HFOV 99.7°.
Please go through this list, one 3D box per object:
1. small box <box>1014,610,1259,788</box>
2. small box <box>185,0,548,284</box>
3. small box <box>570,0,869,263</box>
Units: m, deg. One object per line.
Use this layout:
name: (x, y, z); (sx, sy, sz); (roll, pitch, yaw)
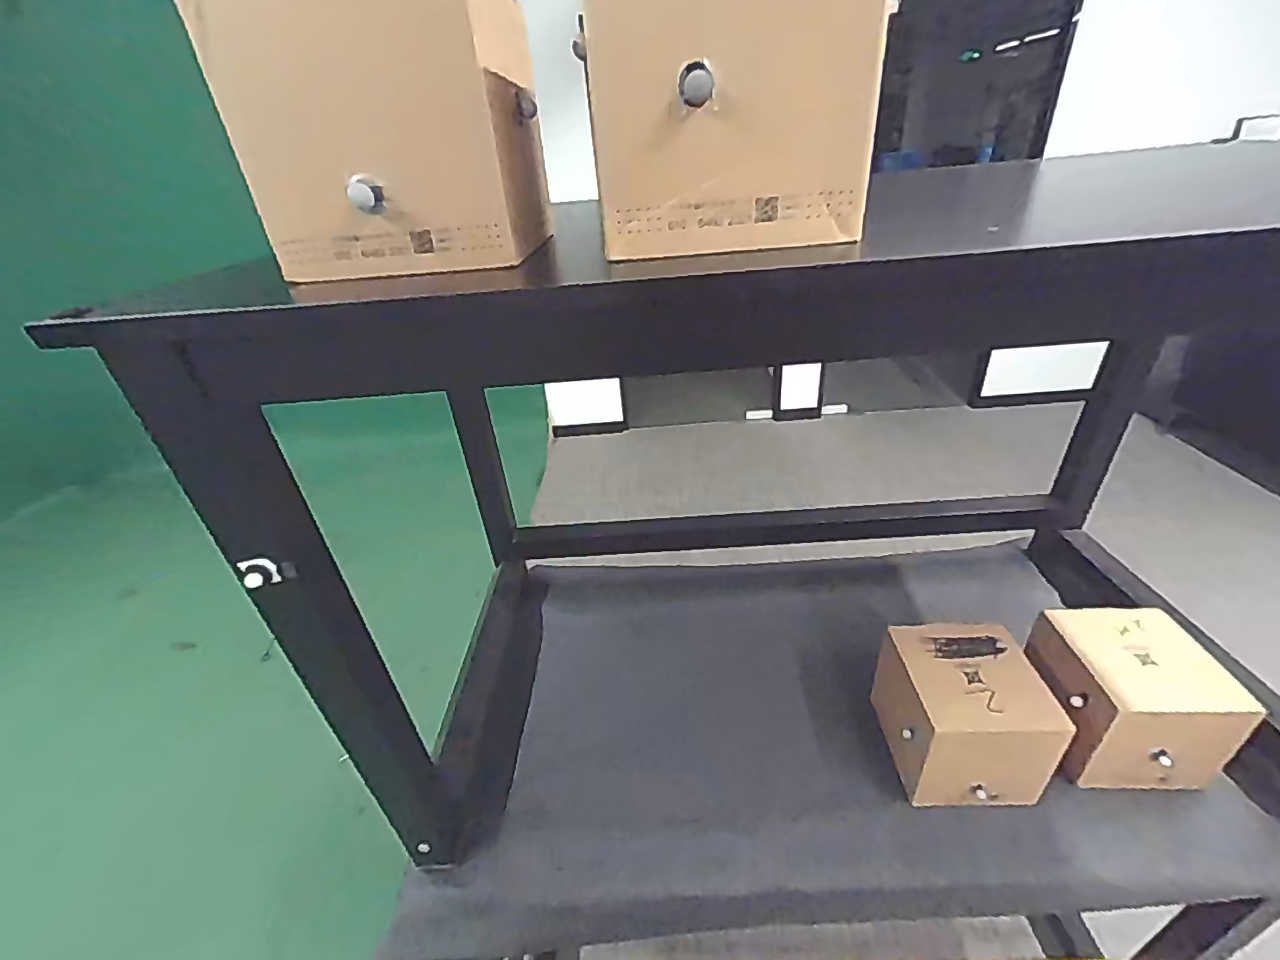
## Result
small box: (0.673, 0.306, 0.763); (0.168, 0.176, 0.179); (-2, 31, 6)
small box: (-0.171, -0.253, 0.409); (0.168, 0.176, 0.179); (-3, 32, 3)
small box: (0.053, -0.257, 0.386); (0.168, 0.176, 0.179); (-3, 31, 4)
